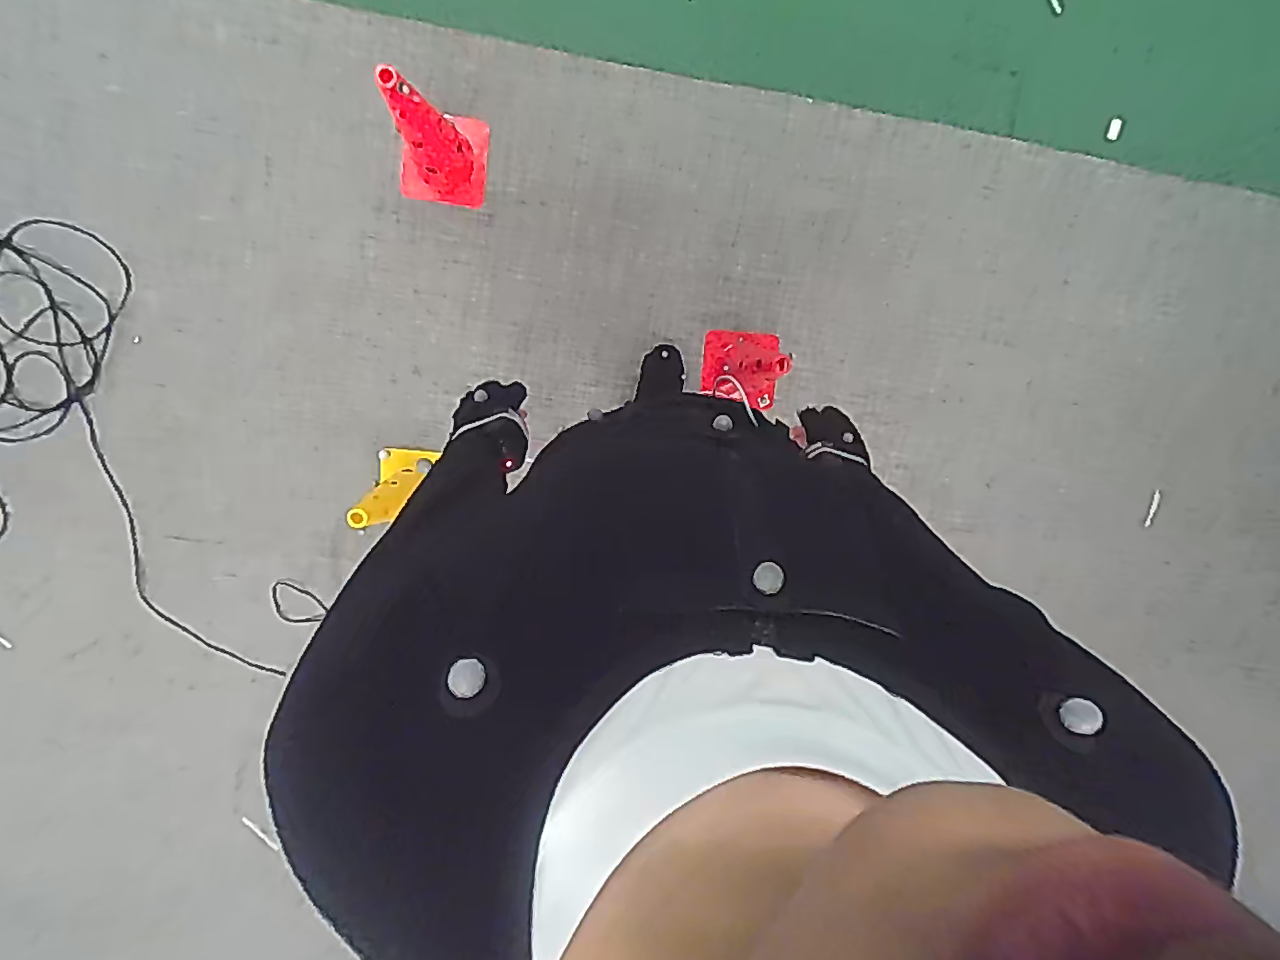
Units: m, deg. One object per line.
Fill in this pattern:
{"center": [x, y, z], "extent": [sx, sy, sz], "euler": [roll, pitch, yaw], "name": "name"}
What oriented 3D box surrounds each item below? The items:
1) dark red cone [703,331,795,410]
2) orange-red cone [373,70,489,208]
{"center": [0.276, -0.261, 1.242], "extent": [0.202, 0.394, 0.201], "euler": [2, 98, -3], "name": "dark red cone"}
{"center": [-0.467, -0.747, 1.146], "extent": [0.198, 0.360, 0.199], "euler": [8, 100, -3], "name": "orange-red cone"}
